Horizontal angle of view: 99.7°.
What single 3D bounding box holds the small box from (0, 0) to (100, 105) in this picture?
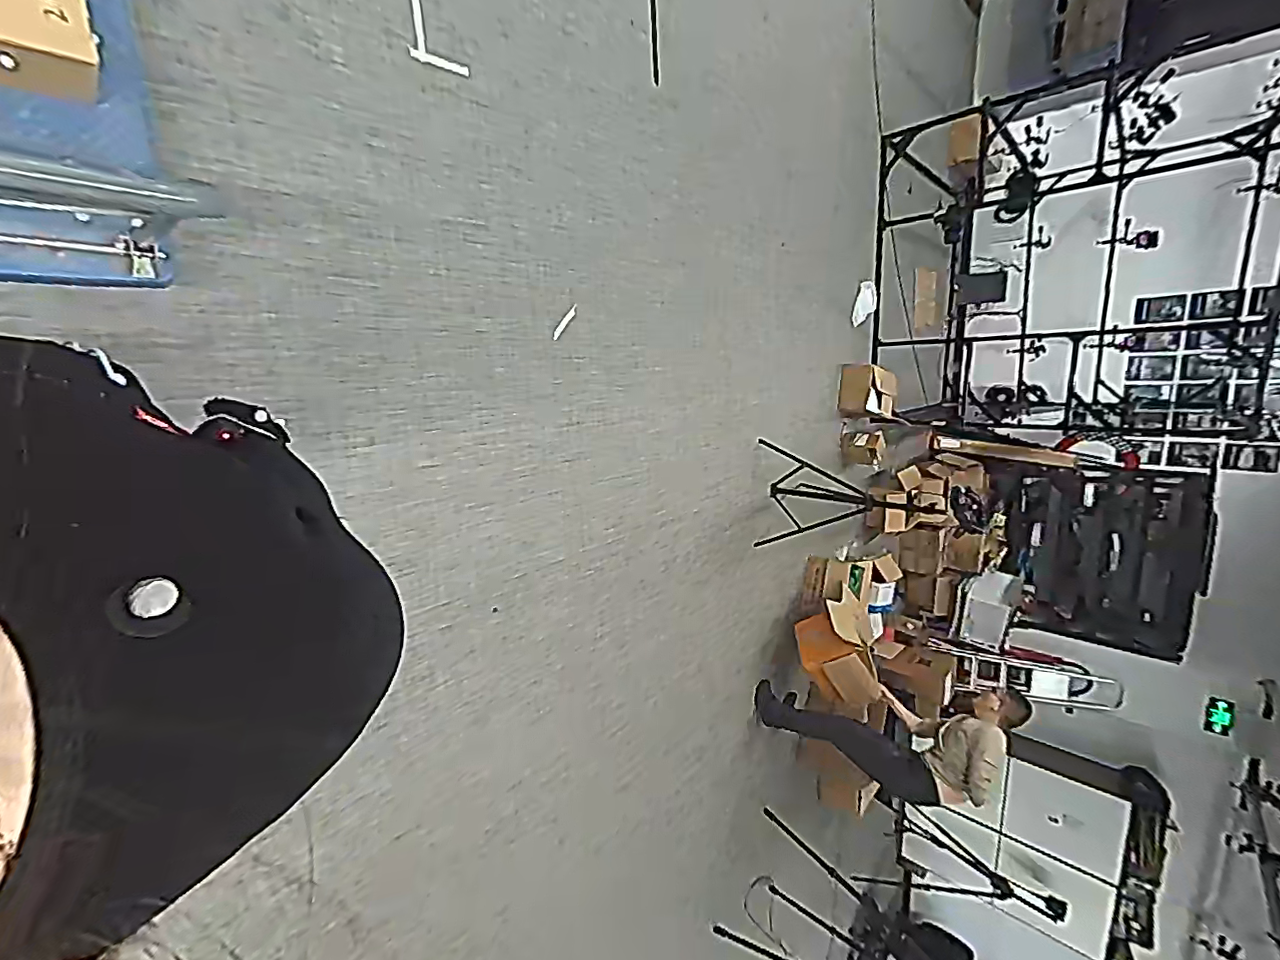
[{"bbox_3d":[-0.924,-0.679,0.782,0.179,0.176,0.168,-17,109,-45],"label":"small box"}]
